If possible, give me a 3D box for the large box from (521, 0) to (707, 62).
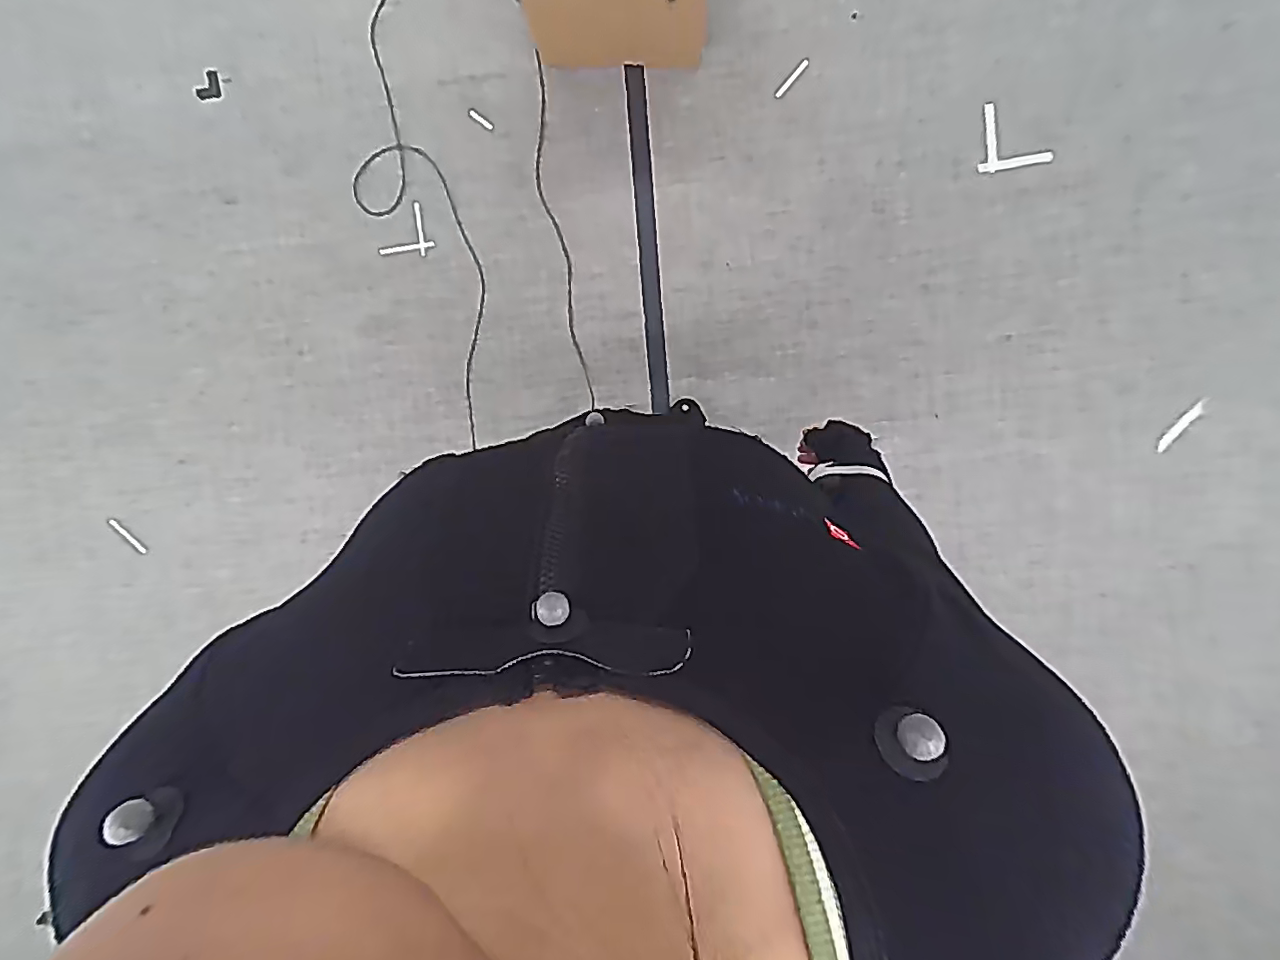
[{"bbox_3d":[-0.052,-1.184,1.195,0.408,0.320,0.320,2,97,2],"label":"large box"}]
